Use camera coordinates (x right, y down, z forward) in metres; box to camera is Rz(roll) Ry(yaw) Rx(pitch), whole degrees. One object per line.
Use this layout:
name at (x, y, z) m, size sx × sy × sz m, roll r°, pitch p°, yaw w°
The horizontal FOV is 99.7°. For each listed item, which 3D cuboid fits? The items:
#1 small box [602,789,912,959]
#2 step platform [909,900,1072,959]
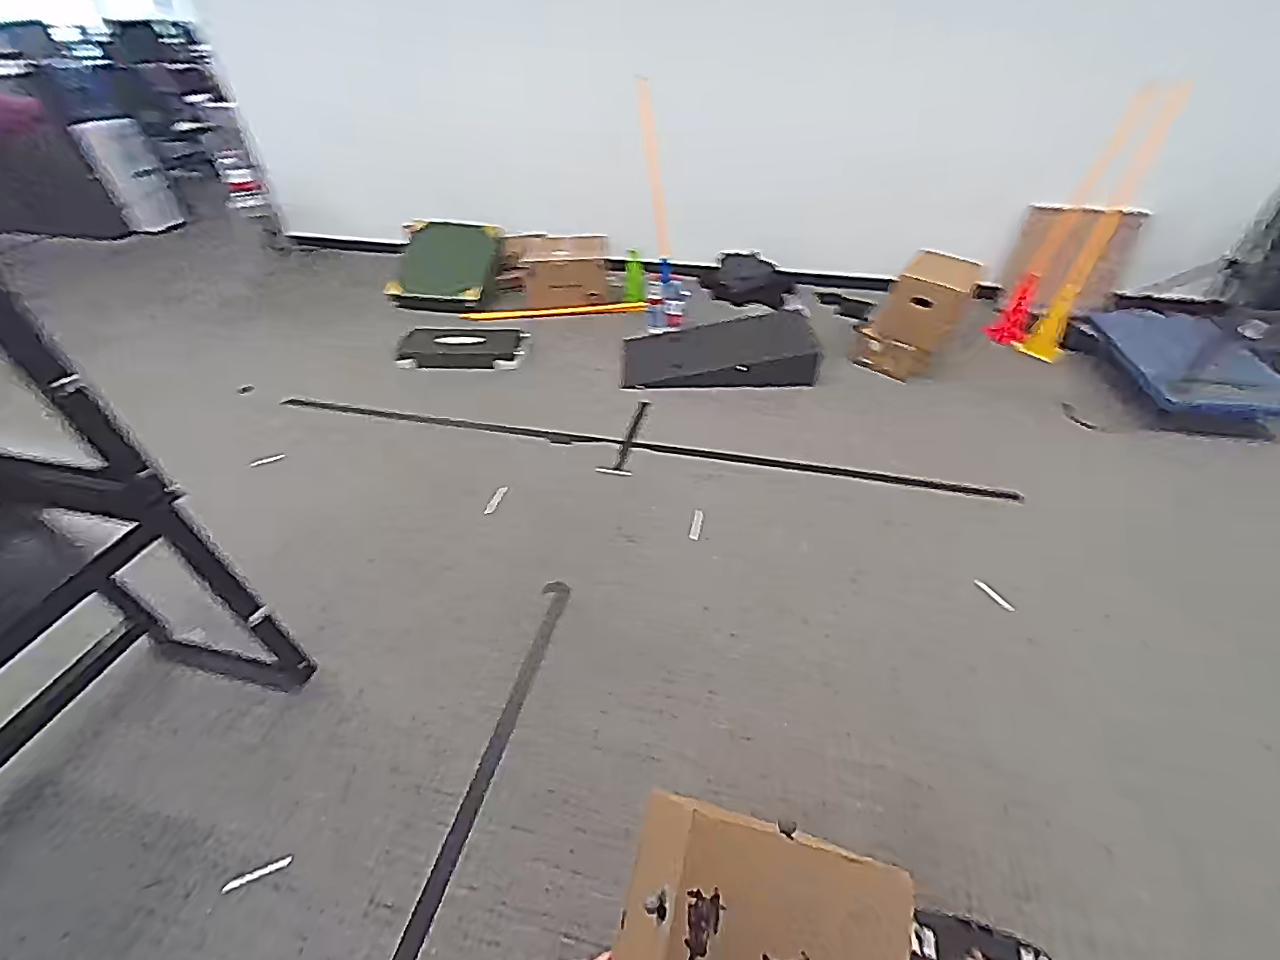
small box at (0.080, 0.356, 0.423) m, size 0.179 × 0.176 × 0.168 m, roll 18°, pitch 62°, yaw -3°
step platform at (0.562, 1.101, 0.852) m, size 0.286 × 0.204 × 0.684 m, roll 13°, pitch 43°, yaw 16°
